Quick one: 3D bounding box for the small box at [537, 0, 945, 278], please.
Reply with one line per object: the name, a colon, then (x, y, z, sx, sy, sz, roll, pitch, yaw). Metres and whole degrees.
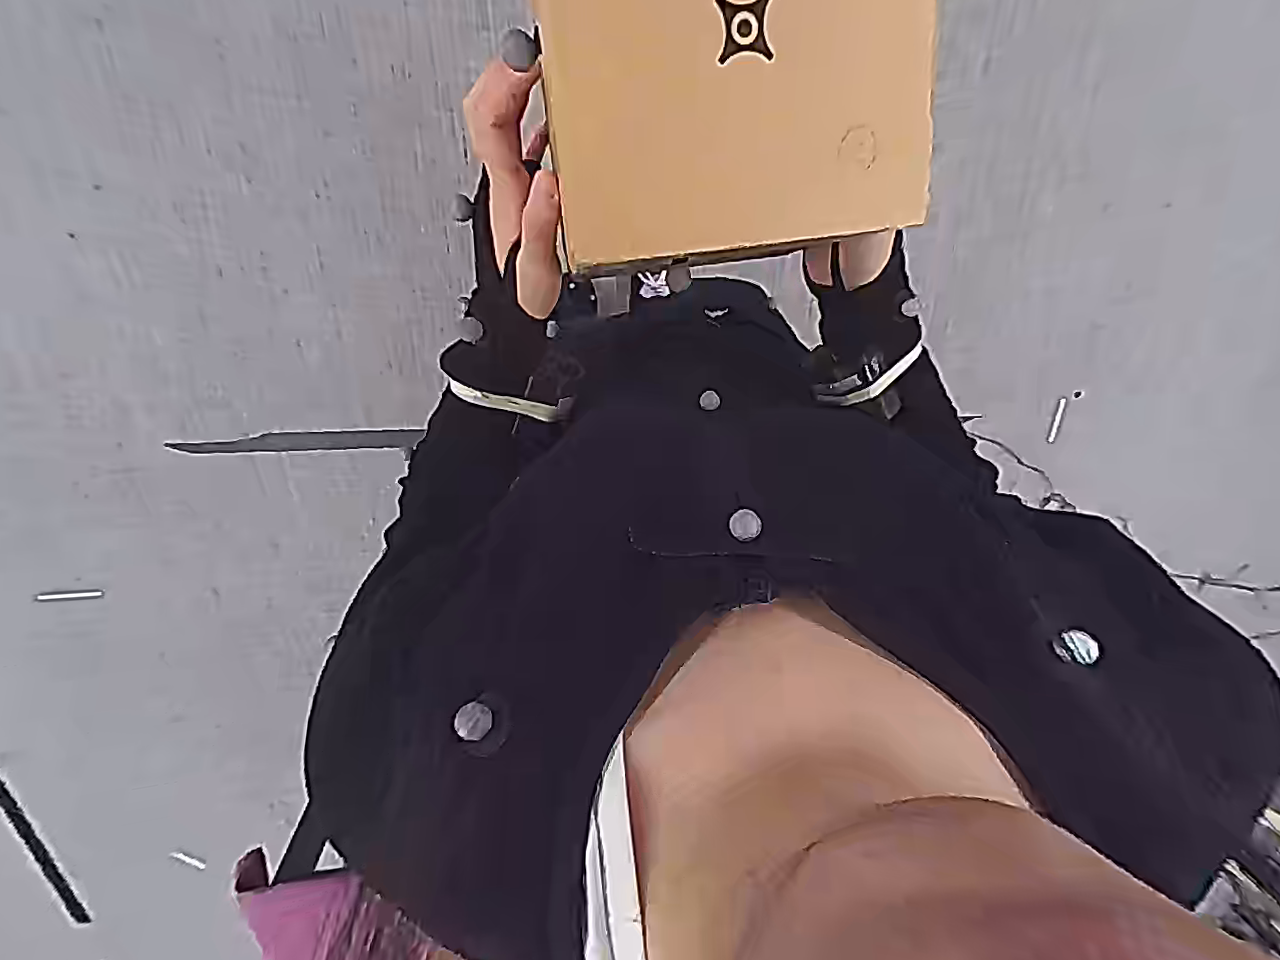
small box: (0.035, -0.209, 0.292, 0.168, 0.176, 0.179, -9, 108, -4)
